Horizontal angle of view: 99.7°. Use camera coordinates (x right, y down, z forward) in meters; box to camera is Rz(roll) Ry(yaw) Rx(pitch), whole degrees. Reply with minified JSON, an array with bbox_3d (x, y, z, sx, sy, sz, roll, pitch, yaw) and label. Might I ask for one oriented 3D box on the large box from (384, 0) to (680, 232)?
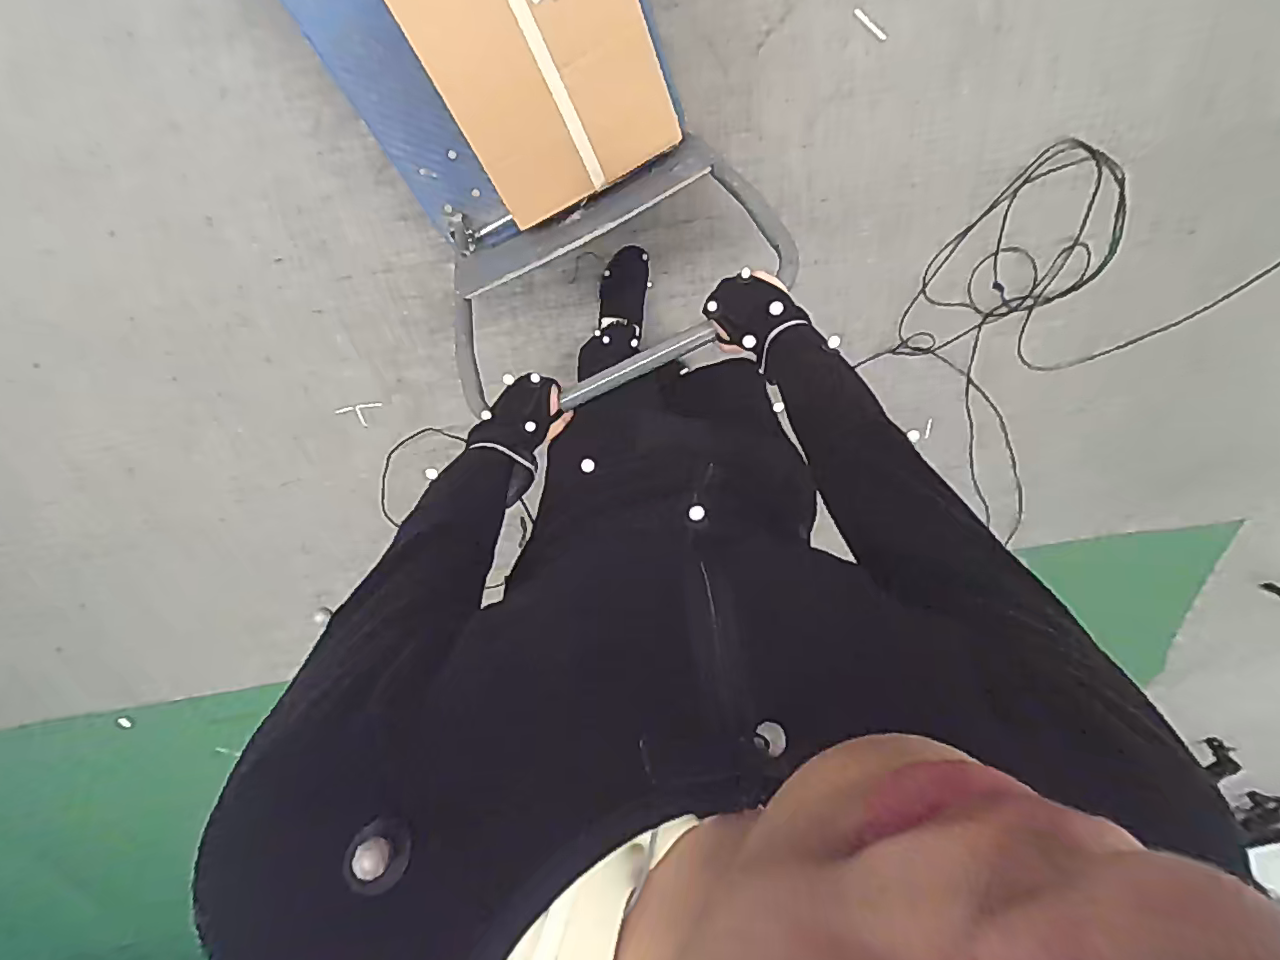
[{"bbox_3d":[-0.174,-0.720,0.913,0.320,0.320,0.408,-26,132,8],"label":"large box"}]
